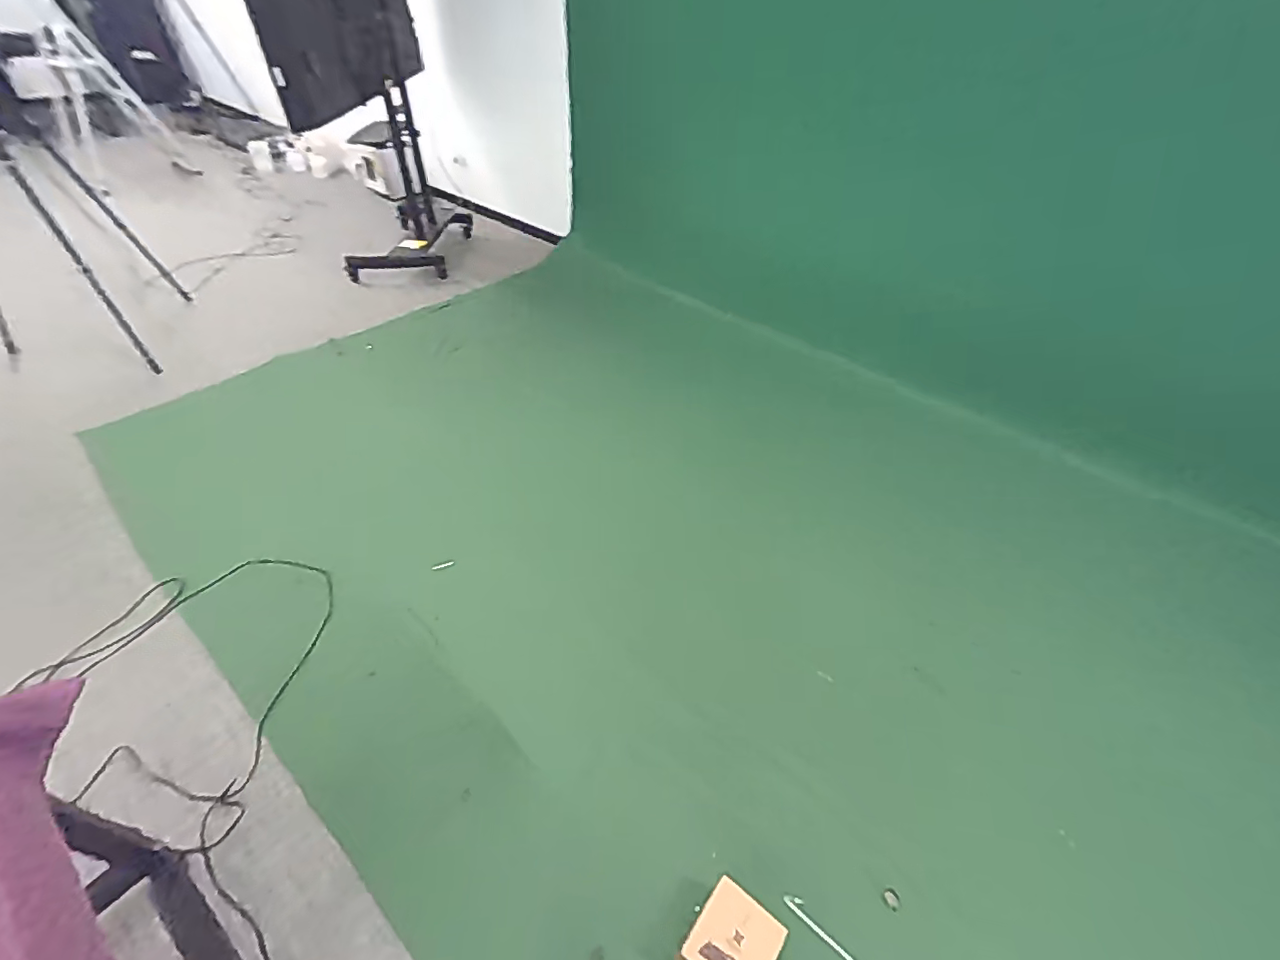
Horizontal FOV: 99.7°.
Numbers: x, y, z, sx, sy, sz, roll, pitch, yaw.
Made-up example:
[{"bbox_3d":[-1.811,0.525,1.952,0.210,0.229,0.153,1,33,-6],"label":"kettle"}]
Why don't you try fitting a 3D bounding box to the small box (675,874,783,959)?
[{"bbox_3d":[0.189,1.032,1.195,0.168,0.176,0.179,31,49,25],"label":"small box"}]
